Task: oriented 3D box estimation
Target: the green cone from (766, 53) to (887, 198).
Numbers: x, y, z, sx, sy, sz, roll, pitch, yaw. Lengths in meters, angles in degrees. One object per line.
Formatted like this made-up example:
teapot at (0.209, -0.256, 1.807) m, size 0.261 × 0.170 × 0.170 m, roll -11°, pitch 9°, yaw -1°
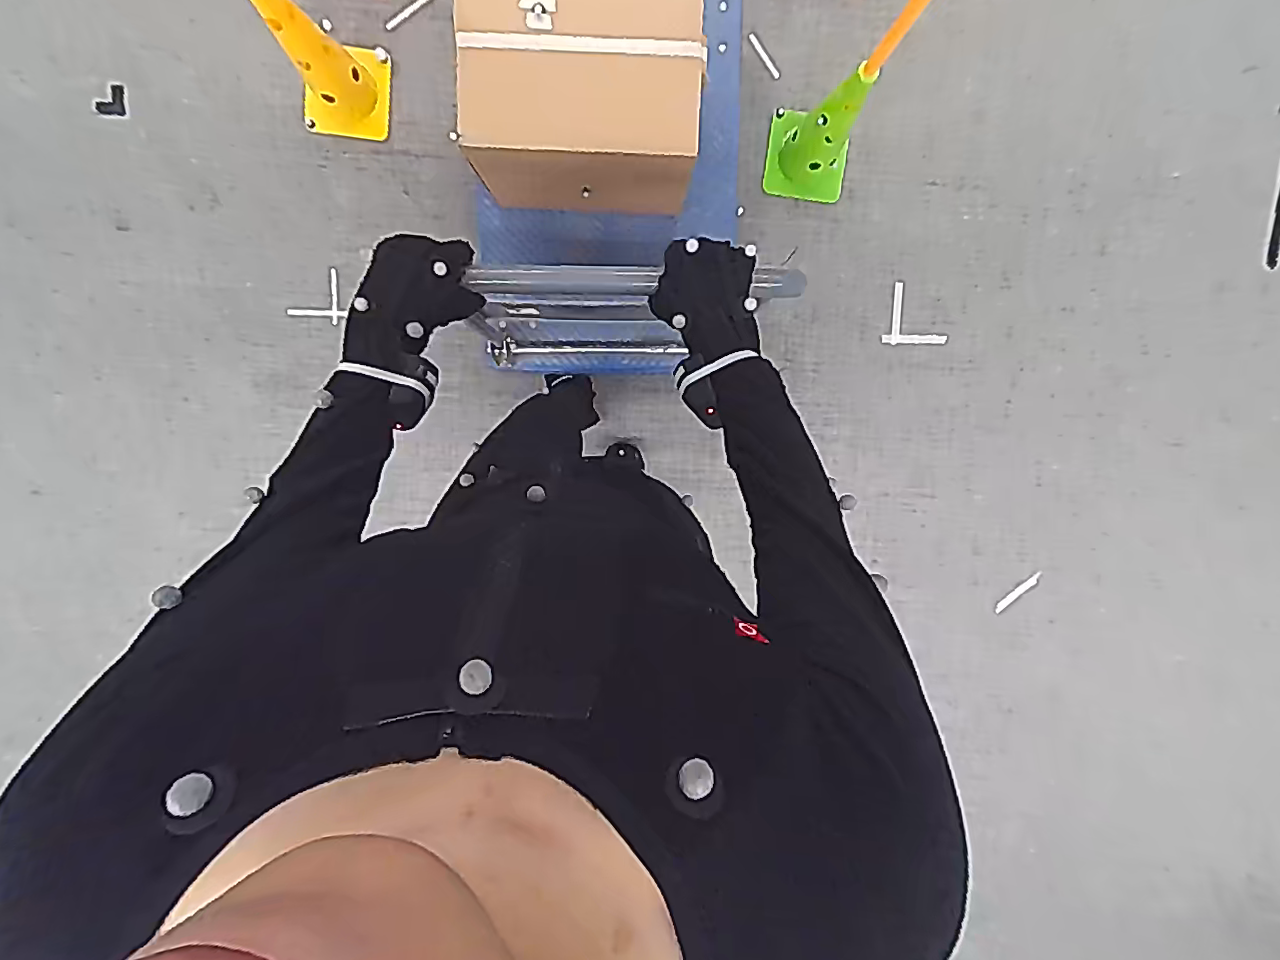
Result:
green cone at (0.429, -0.798, 1.184) m, size 0.202 × 0.368 × 0.200 m, roll 6°, pitch 98°, yaw -3°

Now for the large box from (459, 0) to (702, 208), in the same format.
large box at (-0.098, -0.734, 1.036) m, size 0.408 × 0.320 × 0.320 m, roll 2°, pitch 99°, yaw 0°
